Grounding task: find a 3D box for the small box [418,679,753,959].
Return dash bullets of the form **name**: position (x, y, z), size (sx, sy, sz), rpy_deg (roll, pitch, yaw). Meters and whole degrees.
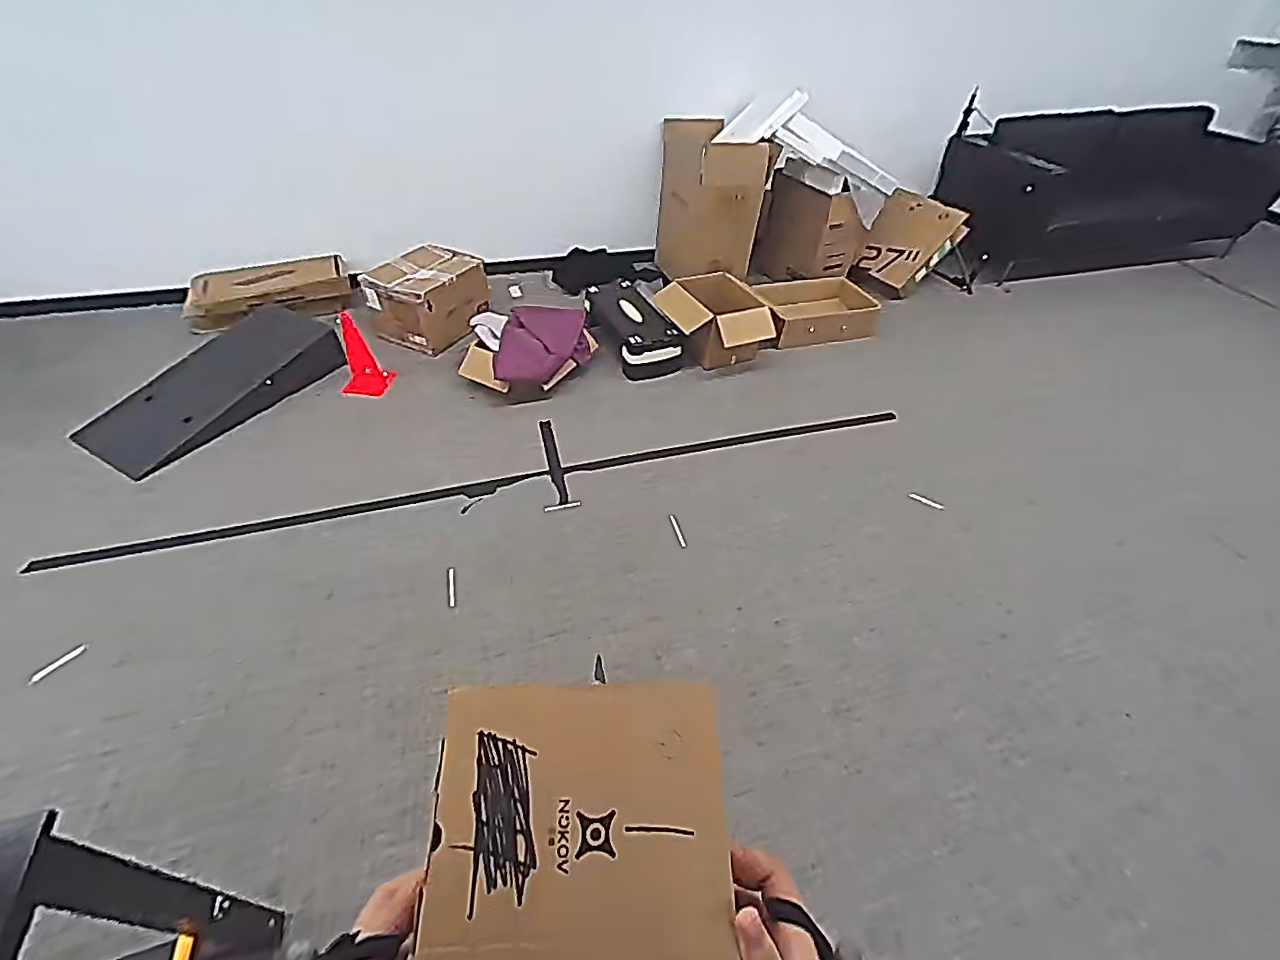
- **small box**: position (-0.033, 0.243, 0.377), size (0.179, 0.176, 0.168), rpy_deg (0, 58, -5)
